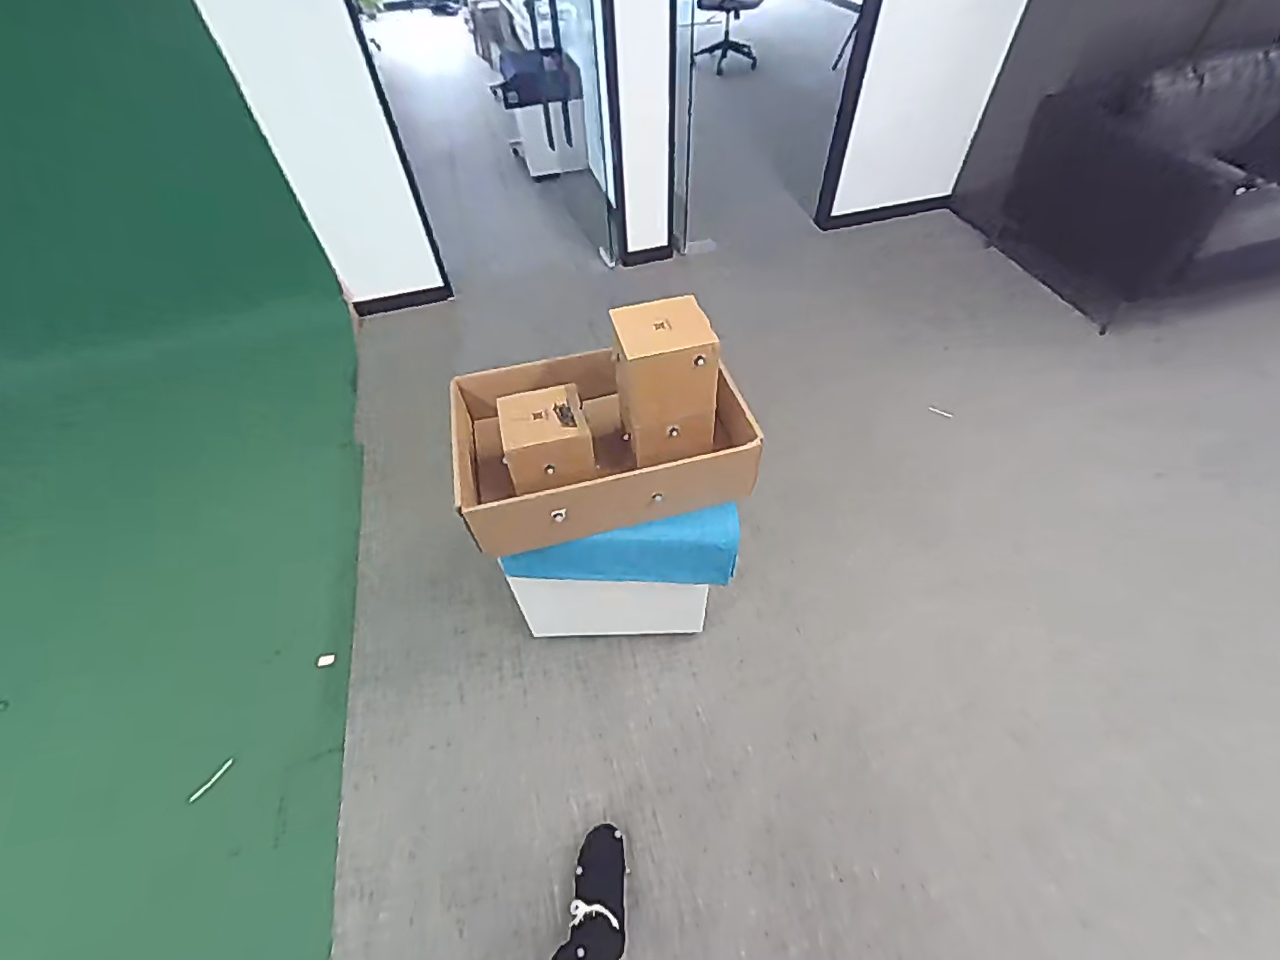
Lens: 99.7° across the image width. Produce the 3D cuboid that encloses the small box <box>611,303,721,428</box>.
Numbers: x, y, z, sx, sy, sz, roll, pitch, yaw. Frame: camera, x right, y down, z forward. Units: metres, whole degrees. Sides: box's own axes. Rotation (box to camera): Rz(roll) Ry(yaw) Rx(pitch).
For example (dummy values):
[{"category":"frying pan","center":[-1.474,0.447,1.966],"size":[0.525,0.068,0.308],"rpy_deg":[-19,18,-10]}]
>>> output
[{"category":"small box","center":[0.051,-0.224,1.078],"size":[0.179,0.176,0.168],"rpy_deg":[-13,50,-7]}]
